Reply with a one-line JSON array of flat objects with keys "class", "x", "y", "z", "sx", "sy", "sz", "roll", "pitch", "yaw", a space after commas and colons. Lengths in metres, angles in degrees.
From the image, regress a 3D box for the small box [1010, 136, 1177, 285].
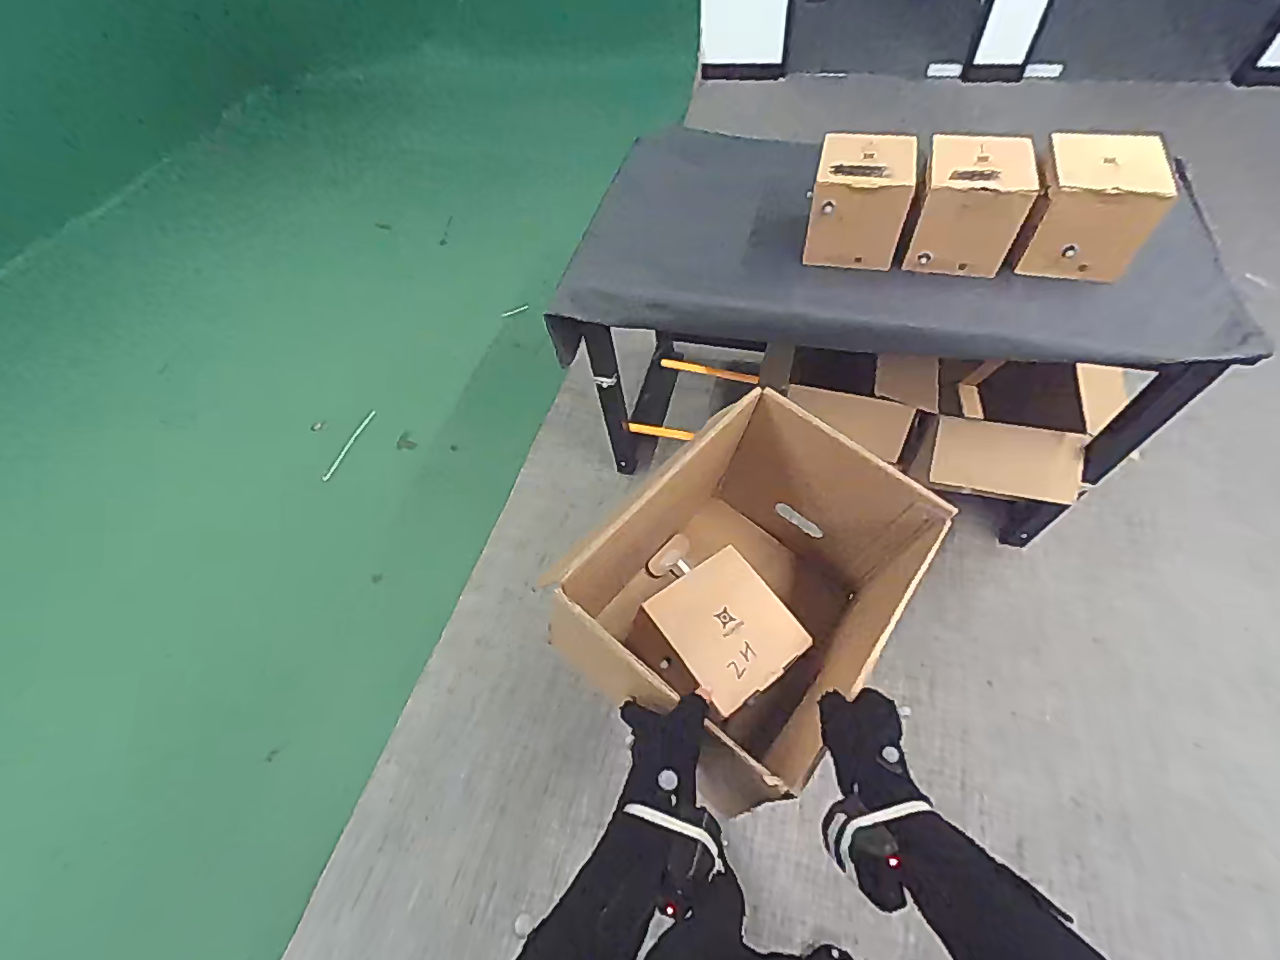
[{"class": "small box", "x": 0.794, "y": -0.483, "z": 0.971, "sx": 0.168, "sy": 0.176, "sz": 0.179, "roll": 11, "pitch": 60, "yaw": 14}]
